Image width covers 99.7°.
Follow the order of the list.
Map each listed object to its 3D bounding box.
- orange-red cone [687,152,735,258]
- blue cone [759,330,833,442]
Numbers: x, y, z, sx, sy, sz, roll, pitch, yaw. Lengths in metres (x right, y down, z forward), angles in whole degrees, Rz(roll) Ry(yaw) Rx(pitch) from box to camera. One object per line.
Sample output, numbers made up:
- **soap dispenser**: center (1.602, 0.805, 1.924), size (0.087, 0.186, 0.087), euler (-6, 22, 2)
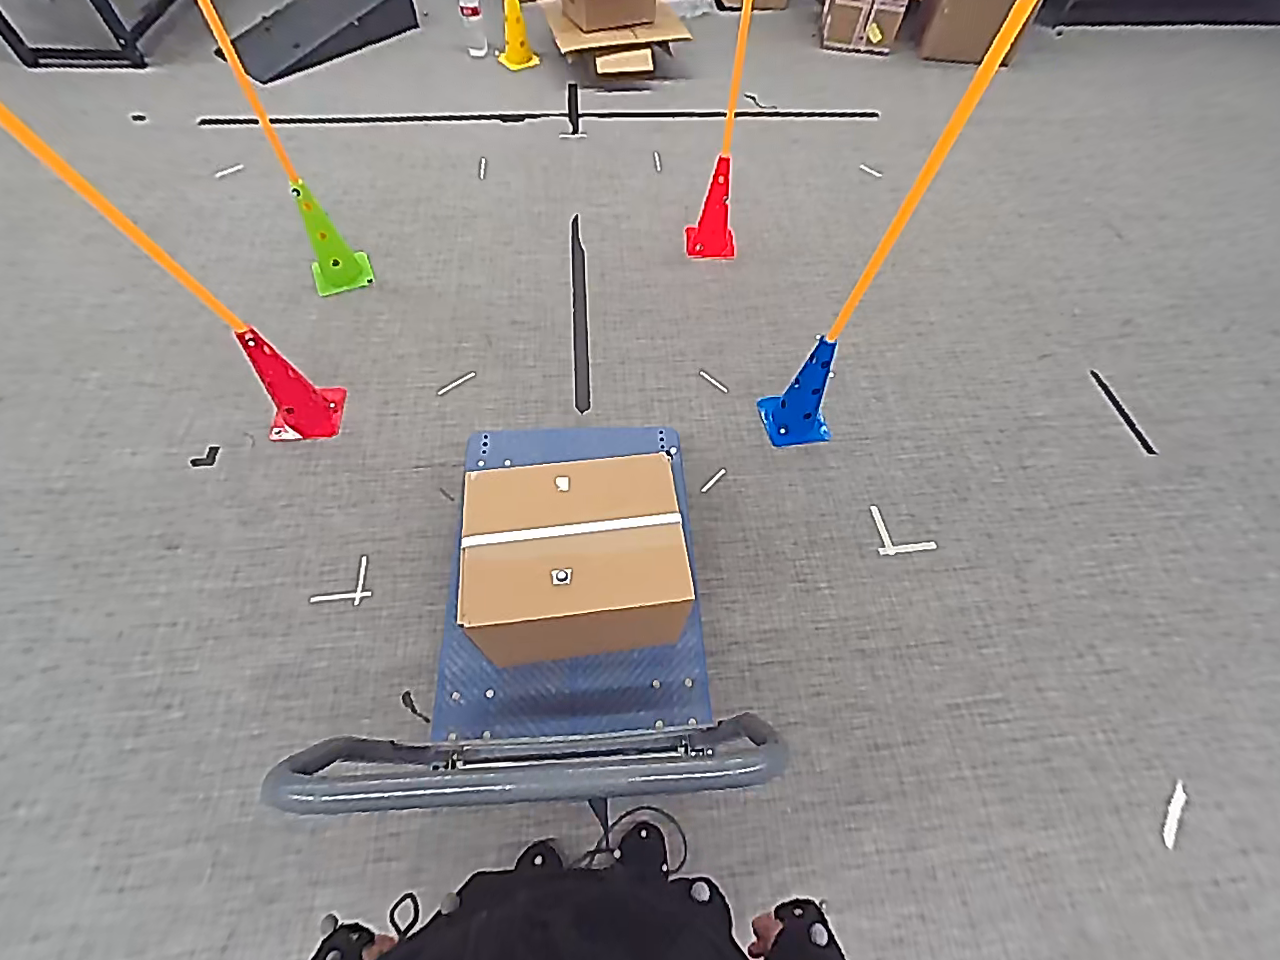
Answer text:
- **orange-red cone**: center (0.299, -1.064, 2.068), size (0.199, 0.360, 0.198), euler (3, 60, -2)
- **blue cone**: center (0.509, -0.292, 1.634), size (0.193, 0.380, 0.192), euler (-7, 59, -7)
